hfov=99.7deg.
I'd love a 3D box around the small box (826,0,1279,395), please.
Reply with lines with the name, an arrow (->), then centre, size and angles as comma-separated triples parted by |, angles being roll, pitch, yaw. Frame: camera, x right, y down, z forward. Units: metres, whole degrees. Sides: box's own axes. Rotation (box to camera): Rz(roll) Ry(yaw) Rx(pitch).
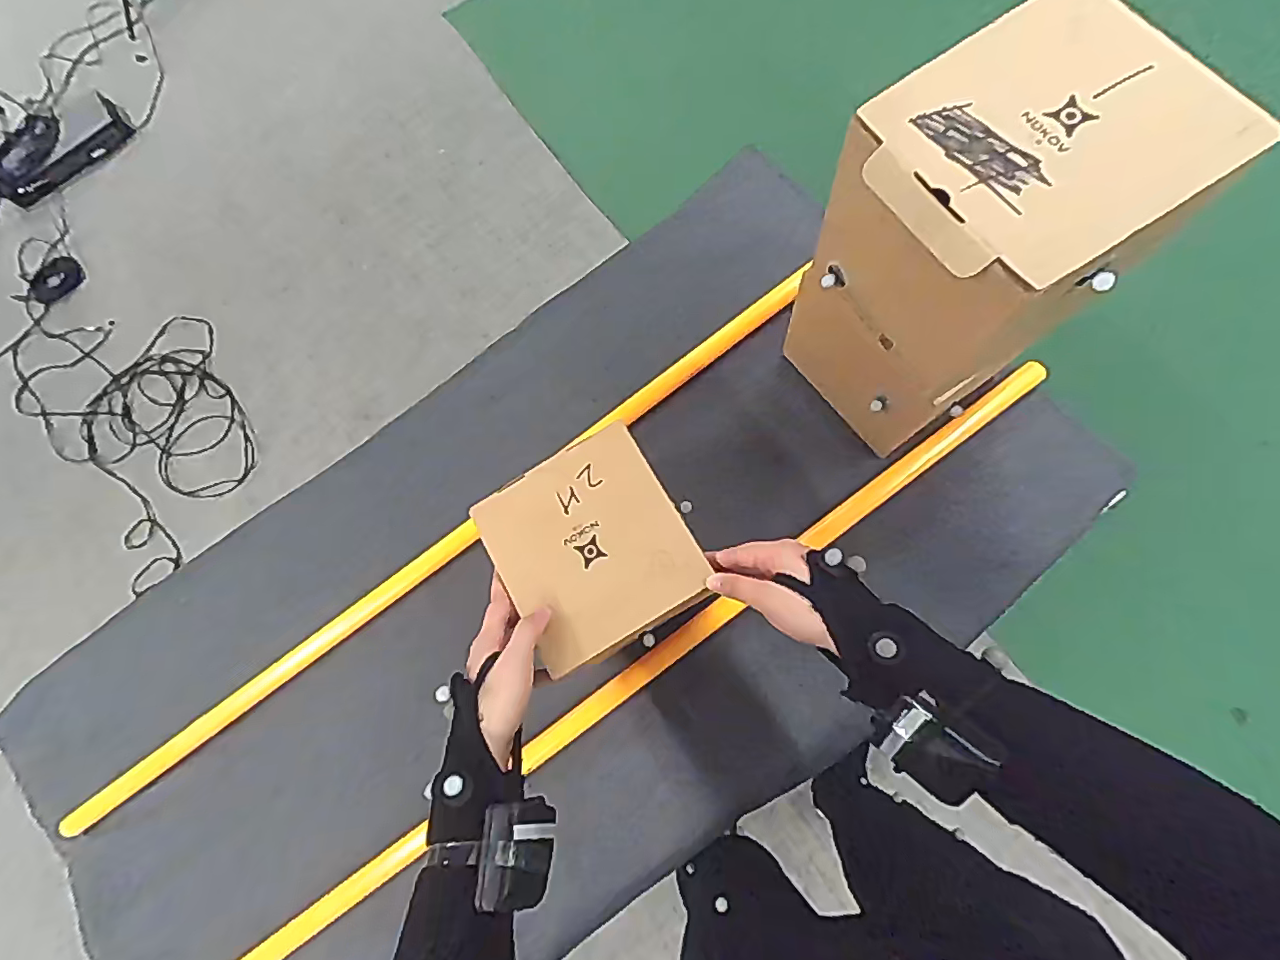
small box -> 0.259, -0.191, 0.400 | 0.179, 0.176, 0.168 | -32, 75, -1
